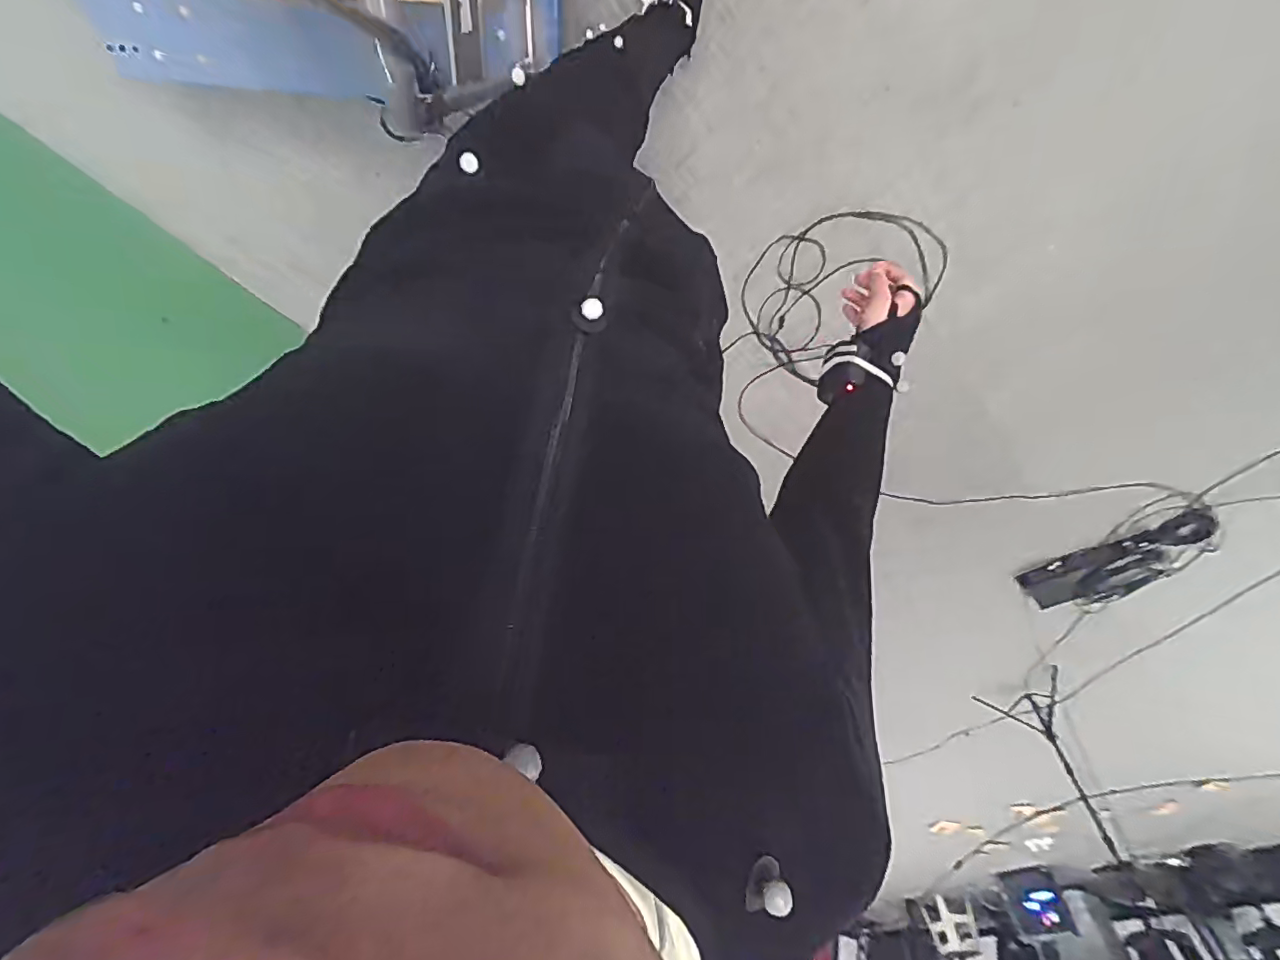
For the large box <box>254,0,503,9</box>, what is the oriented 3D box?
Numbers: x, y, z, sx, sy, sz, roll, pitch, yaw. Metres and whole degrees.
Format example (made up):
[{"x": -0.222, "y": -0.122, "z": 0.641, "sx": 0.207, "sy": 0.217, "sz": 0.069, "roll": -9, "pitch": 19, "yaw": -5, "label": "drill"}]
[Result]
[{"x": -0.434, "y": -0.873, "z": 0.756, "sx": 0.408, "sy": 0.320, "sz": 0.320, "roll": 3, "pitch": 130, "yaw": 0, "label": "large box"}]
